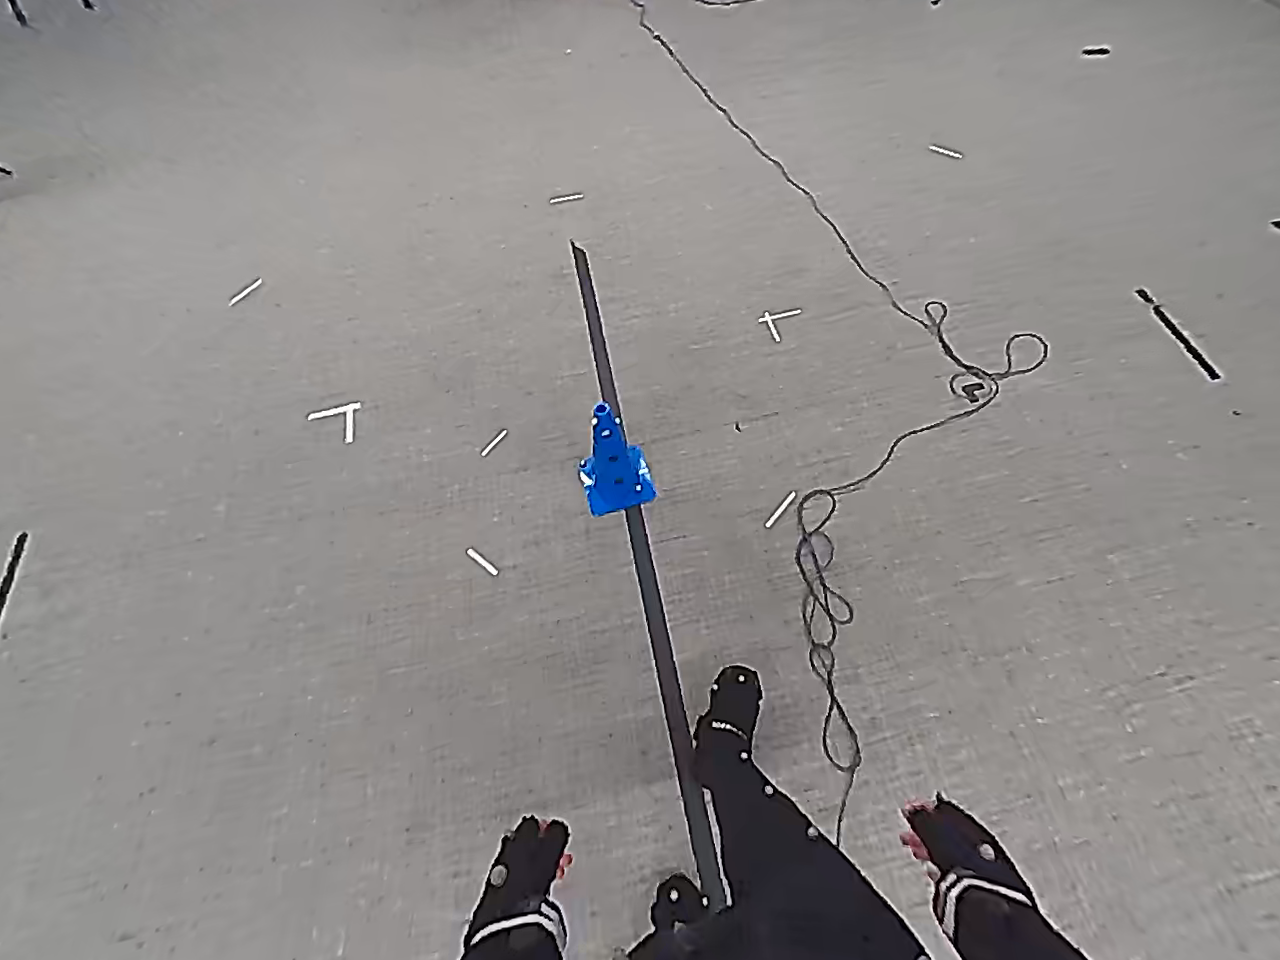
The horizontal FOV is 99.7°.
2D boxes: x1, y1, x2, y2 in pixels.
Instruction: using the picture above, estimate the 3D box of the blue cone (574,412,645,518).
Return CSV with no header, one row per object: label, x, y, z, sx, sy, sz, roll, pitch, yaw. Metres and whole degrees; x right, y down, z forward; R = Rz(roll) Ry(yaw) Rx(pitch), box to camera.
blue cone,-0.102,-0.067,1.477,0.192,0.380,0.193,-16,60,-4
